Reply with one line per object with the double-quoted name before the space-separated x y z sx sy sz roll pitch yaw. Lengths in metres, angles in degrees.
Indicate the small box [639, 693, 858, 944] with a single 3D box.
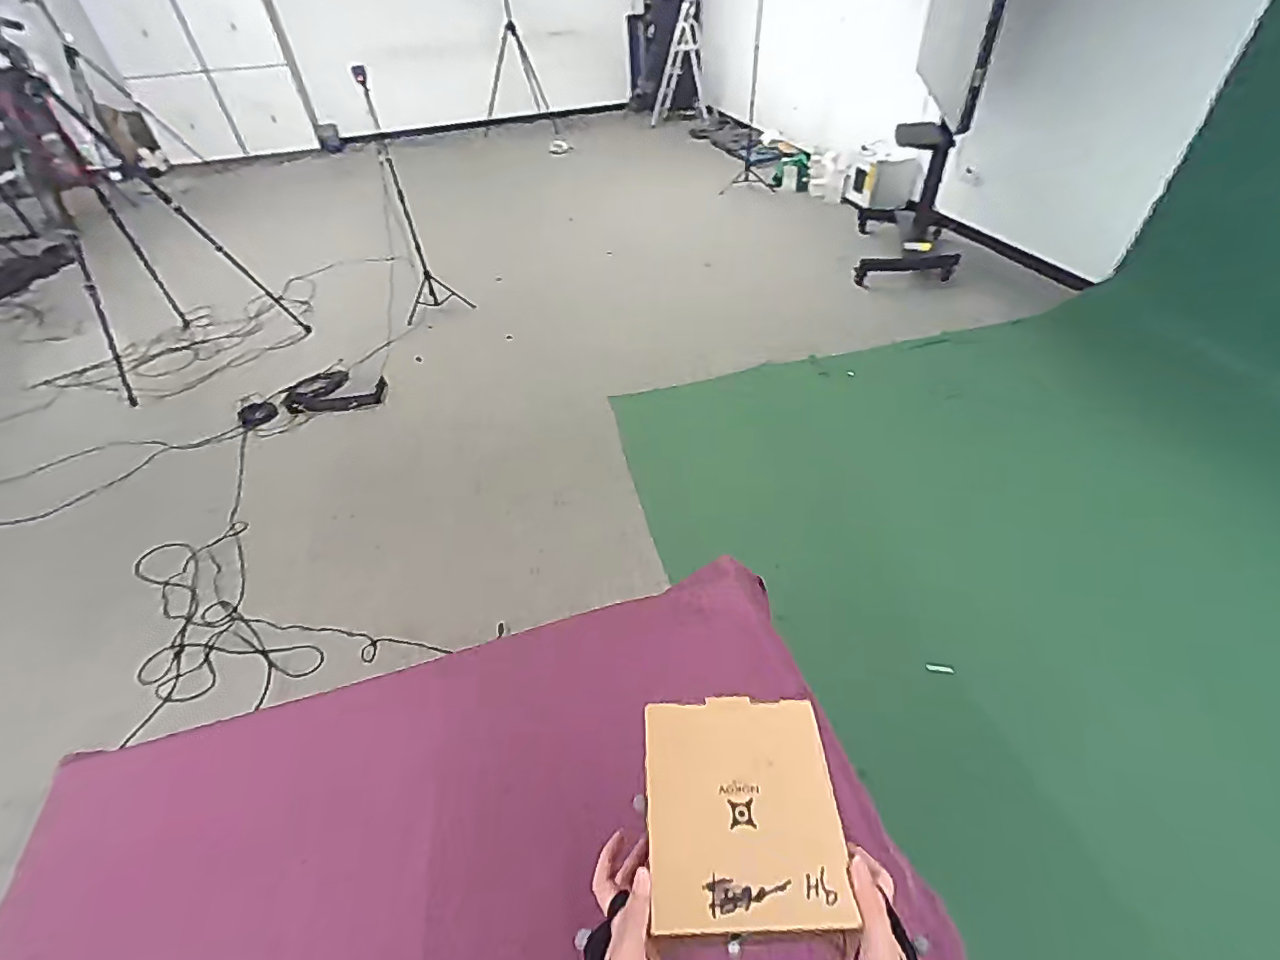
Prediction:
"small box" 0.082 0.324 0.517 0.168 0.176 0.179 -1 47 0
